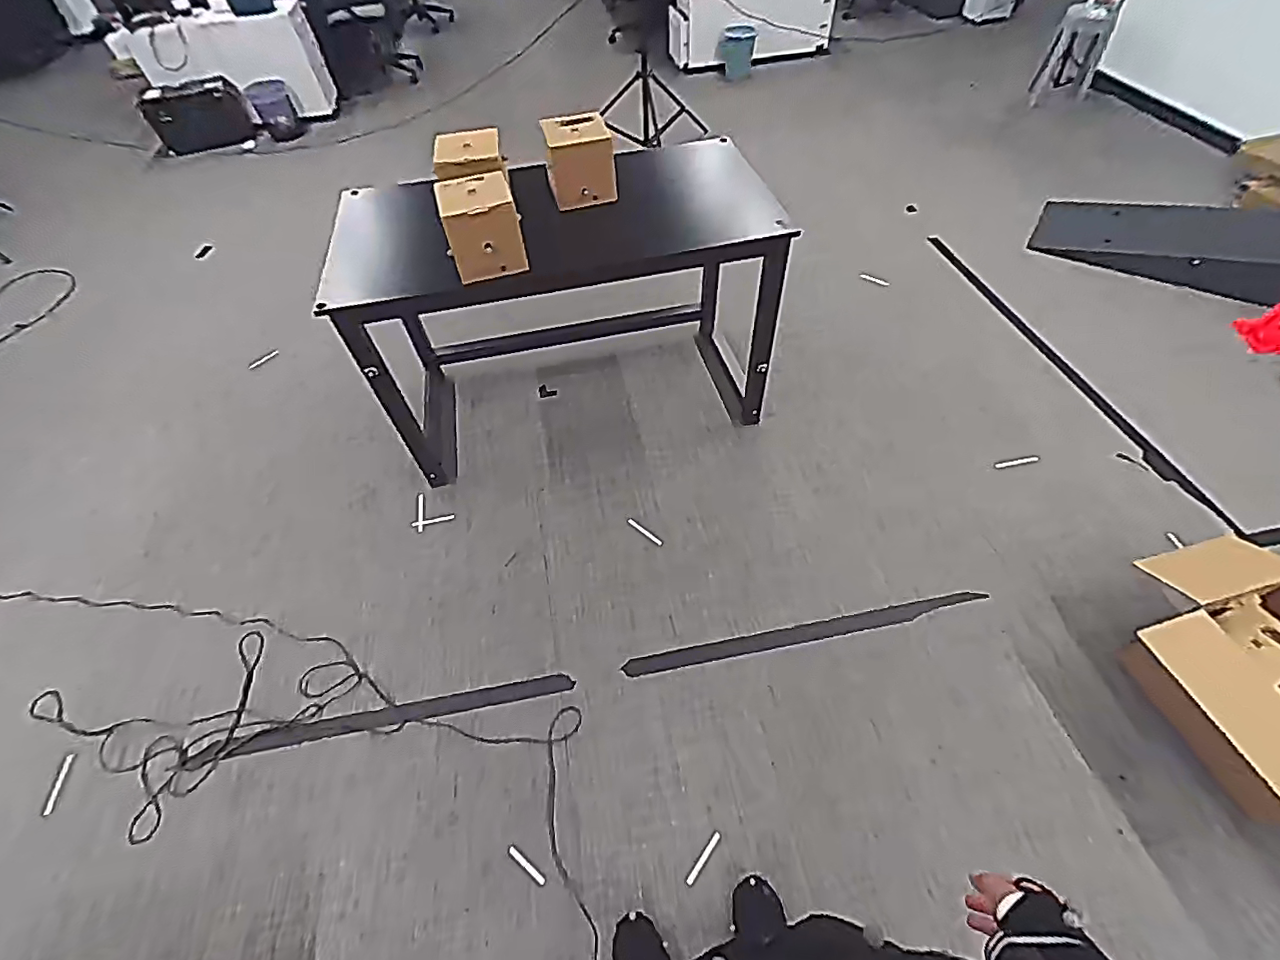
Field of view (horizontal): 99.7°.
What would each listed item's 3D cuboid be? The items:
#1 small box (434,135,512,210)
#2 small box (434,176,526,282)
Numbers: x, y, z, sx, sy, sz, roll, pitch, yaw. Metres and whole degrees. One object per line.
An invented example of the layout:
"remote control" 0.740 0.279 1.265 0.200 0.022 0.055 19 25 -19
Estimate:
"small box" -0.450 -0.808 1.475 0.168 0.176 0.179 -10 54 -4
"small box" -0.384 -0.601 1.313 0.168 0.176 0.179 -16 54 -9
